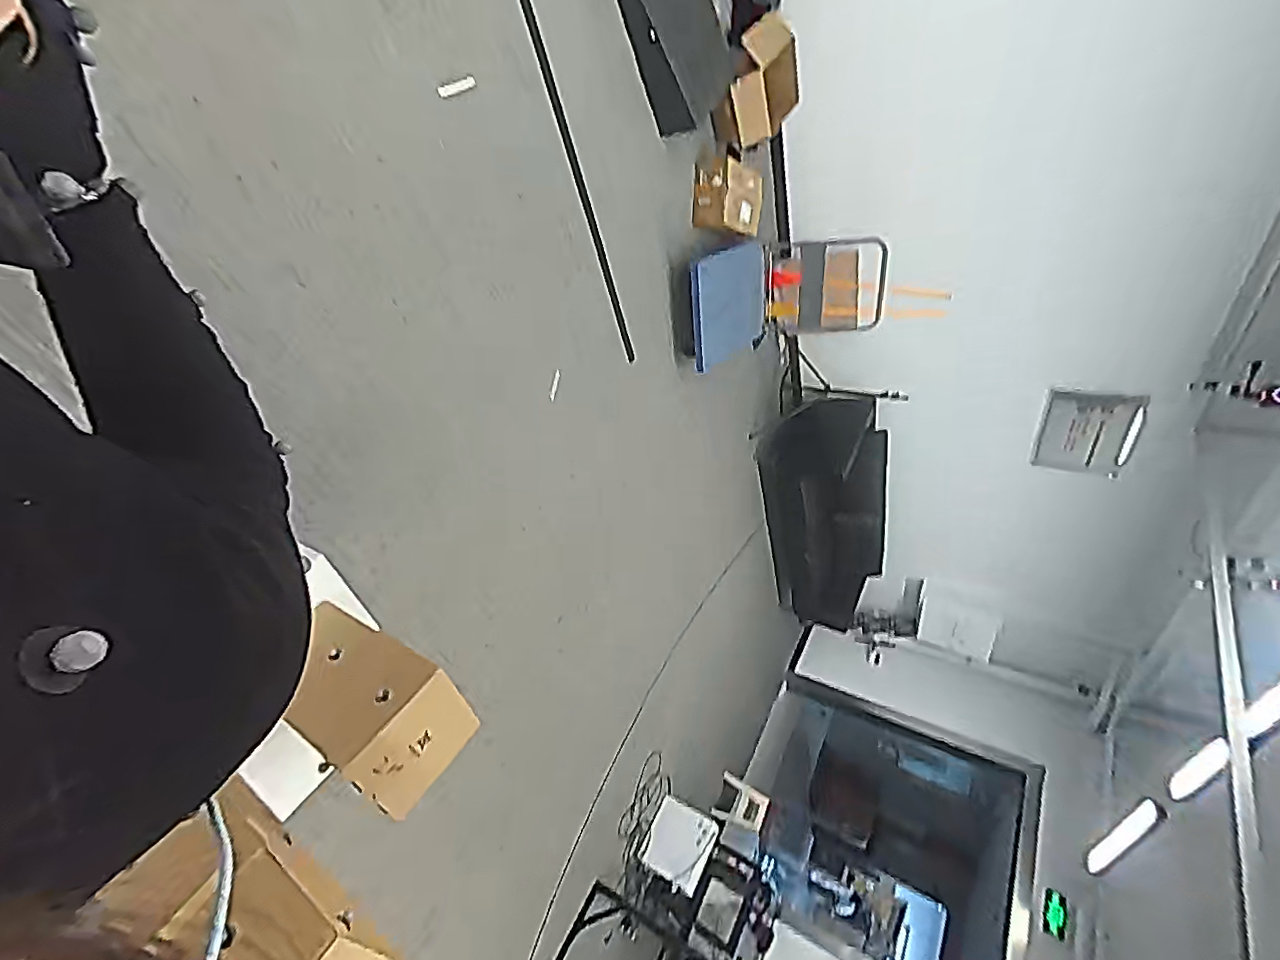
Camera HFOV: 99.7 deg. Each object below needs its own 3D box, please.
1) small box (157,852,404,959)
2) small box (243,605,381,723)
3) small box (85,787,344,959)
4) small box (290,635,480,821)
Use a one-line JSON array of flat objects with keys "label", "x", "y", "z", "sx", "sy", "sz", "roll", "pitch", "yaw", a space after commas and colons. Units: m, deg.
[{"label": "small box", "x": -0.399, "y": 0.559, "z": 0.599, "sx": 0.168, "sy": 0.176, "sz": 0.179, "roll": -49, "pitch": 138, "yaw": -37}, {"label": "small box", "x": -0.529, "y": 0.347, "z": 0.936, "sx": 0.168, "sy": 0.176, "sz": 0.179, "roll": -48, "pitch": 139, "yaw": -39}, {"label": "small box", "x": -0.532, "y": 0.529, "z": 0.687, "sx": 0.168, "sy": 0.176, "sz": 0.179, "roll": -50, "pitch": 139, "yaw": -37}, {"label": "small box", "x": -0.393, "y": 0.375, "z": 0.847, "sx": 0.179, "sy": 0.176, "sz": 0.168, "roll": -47, "pitch": 137, "yaw": -38}]
